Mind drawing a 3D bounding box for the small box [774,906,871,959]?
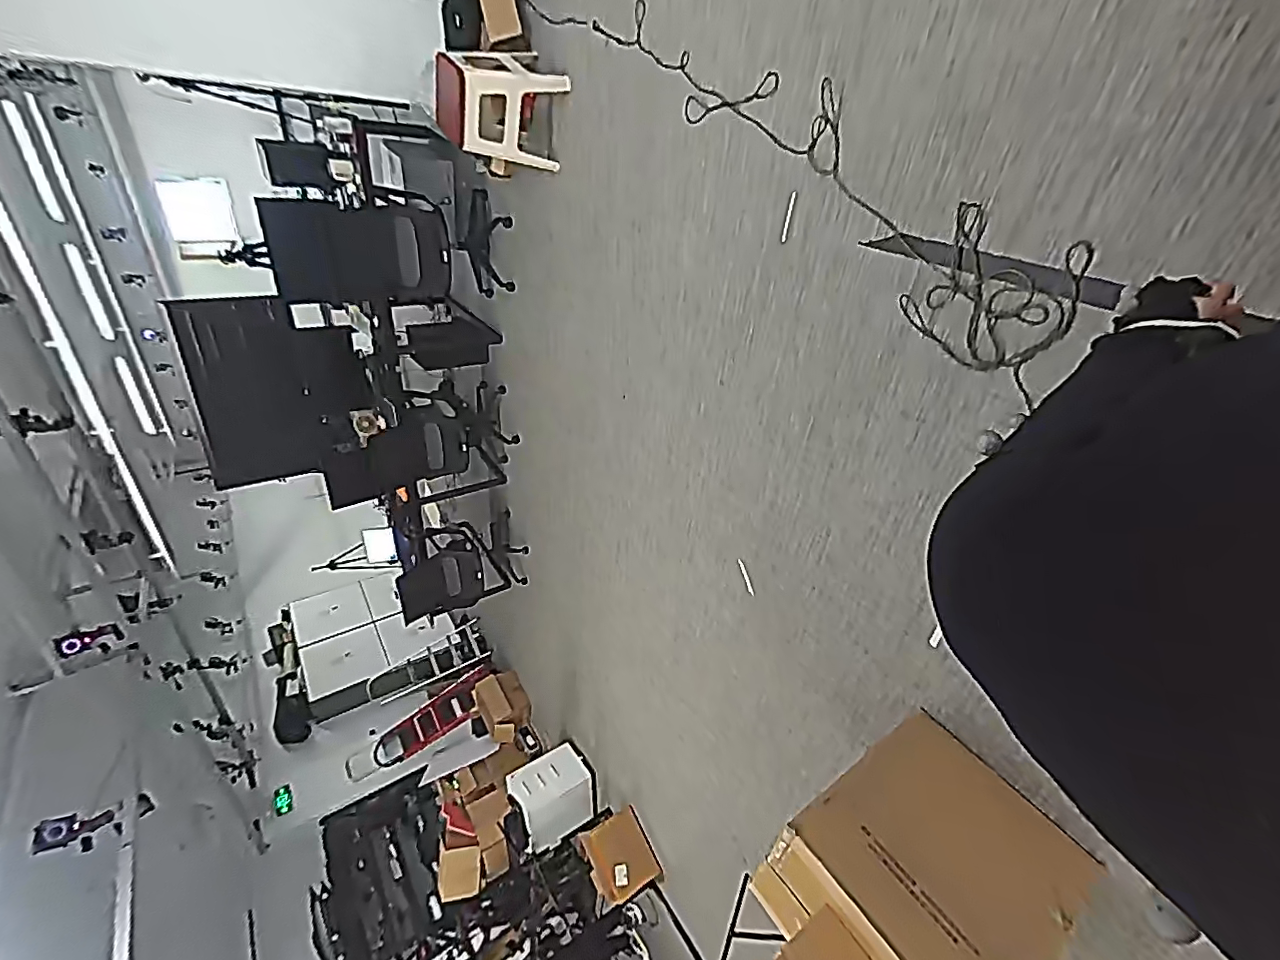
[{"bbox_3d":[0.423,1.137,1.236,0.179,0.176,0.168,43,137,41],"label":"small box"}]
